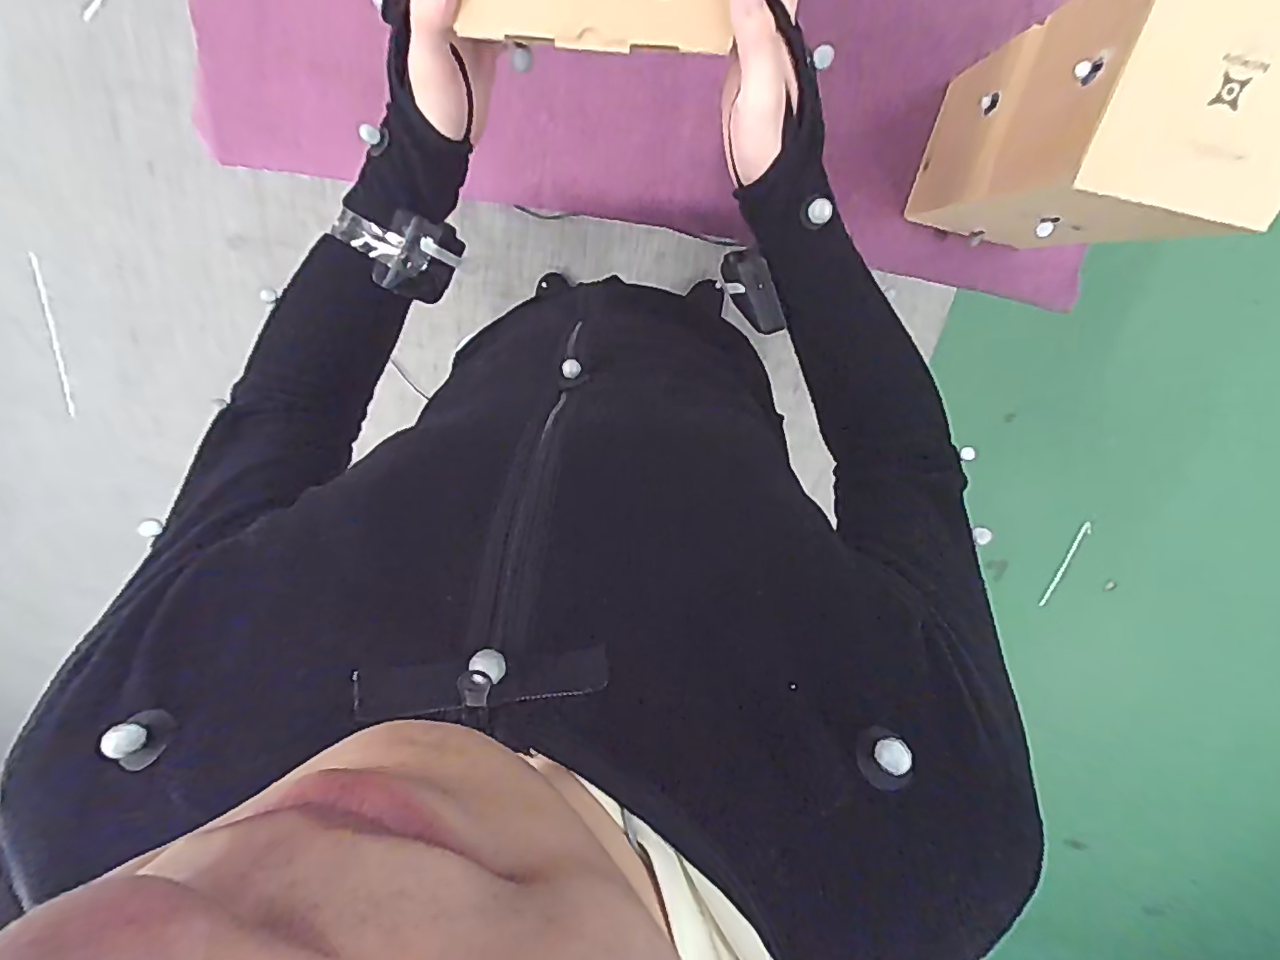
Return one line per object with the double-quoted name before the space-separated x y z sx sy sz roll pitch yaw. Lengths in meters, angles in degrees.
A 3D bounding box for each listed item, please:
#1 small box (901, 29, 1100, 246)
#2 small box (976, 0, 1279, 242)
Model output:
"small box" 0.453 -0.384 0.643 0.179 0.176 0.168 13 110 -3
"small box" 0.449 -0.329 0.489 0.168 0.176 0.179 13 111 -1
